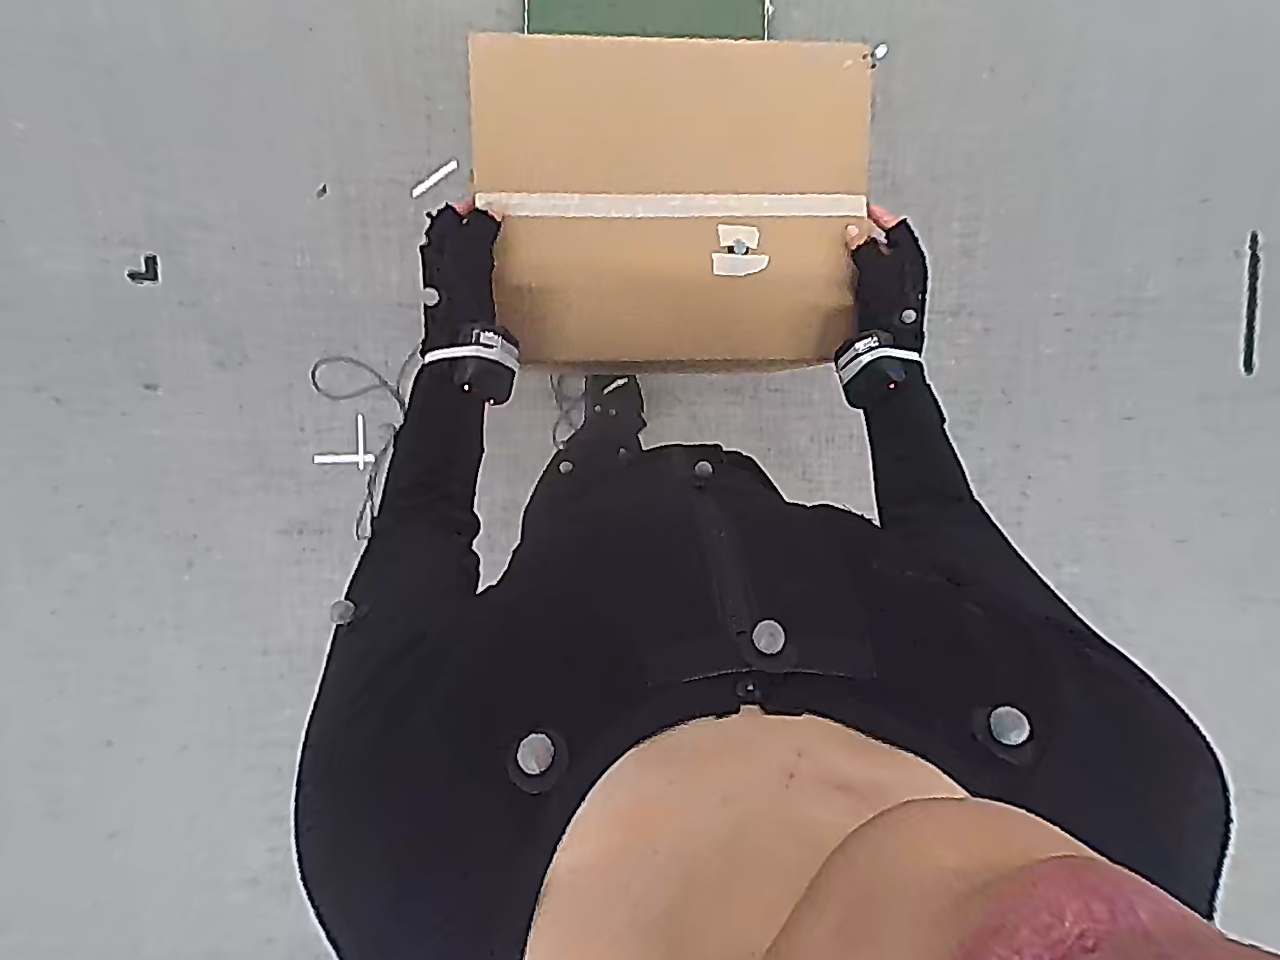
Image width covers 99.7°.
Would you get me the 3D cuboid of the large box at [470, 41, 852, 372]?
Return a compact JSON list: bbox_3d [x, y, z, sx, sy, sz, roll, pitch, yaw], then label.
[{"bbox_3d":[0.020,-0.318,0.722,0.408,0.320,0.320,-2,99,-4],"label":"large box"}]
